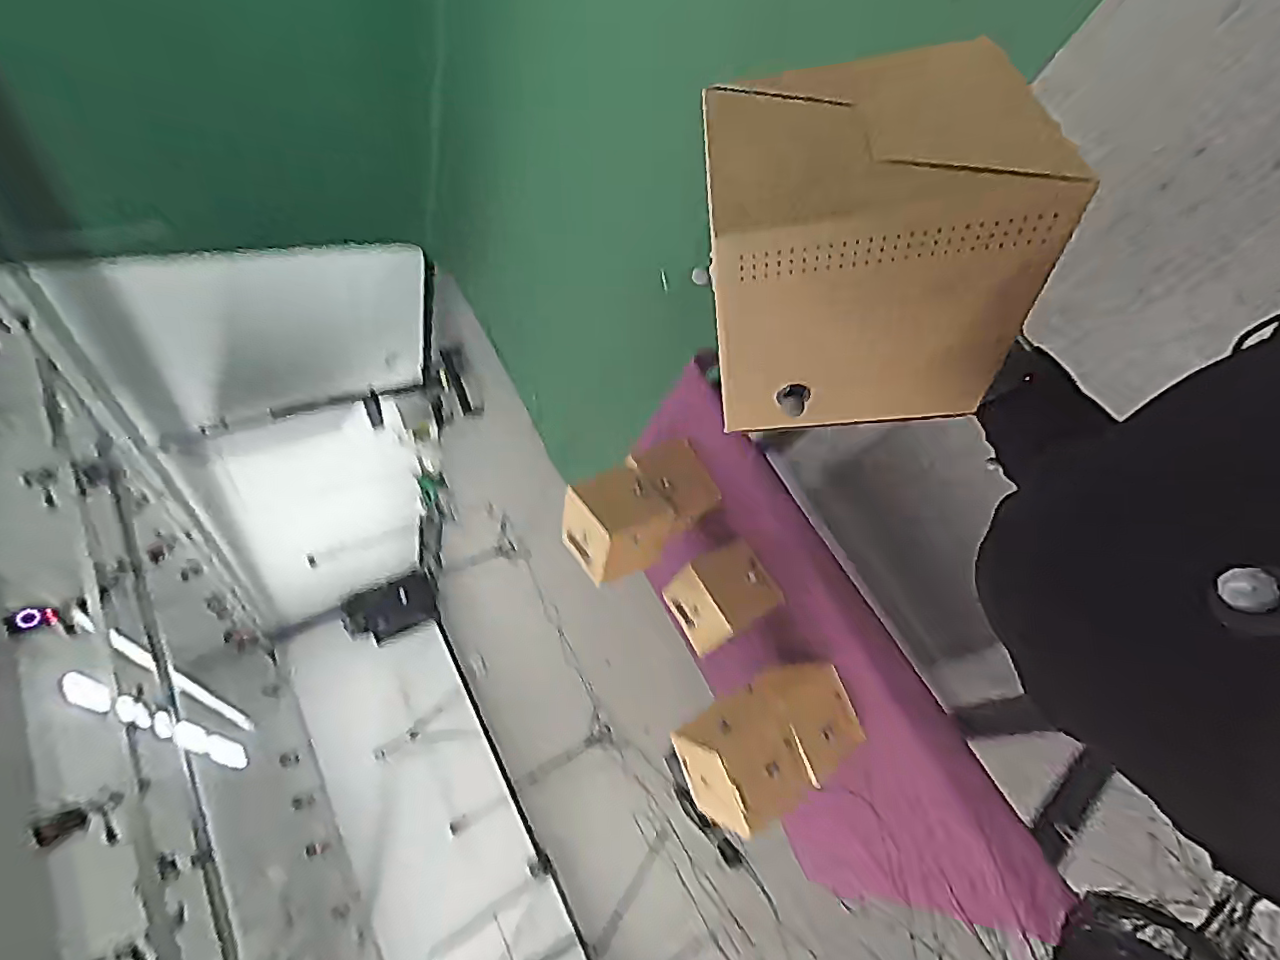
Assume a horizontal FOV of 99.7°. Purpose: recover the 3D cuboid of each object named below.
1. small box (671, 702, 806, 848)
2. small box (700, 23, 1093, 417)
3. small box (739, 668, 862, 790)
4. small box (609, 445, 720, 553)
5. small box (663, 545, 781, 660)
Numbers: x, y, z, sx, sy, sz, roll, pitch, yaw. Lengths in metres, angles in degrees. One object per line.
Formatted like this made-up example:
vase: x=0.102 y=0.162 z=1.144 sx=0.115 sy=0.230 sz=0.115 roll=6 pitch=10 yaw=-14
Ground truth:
small box: x=0.196 y=0.556 z=1.051 sx=0.179 sy=0.176 sz=0.168 roll=-20 pitch=90 yaw=58
small box: x=0.133 y=-0.162 z=0.358 sx=0.176 sy=0.179 sz=0.168 roll=72 pitch=-164 yaw=-58
small box: x=0.332 y=0.508 z=1.130 sx=0.179 sy=0.176 sz=0.168 roll=-34 pitch=79 yaw=58
small box: x=0.058 y=0.042 z=1.282 sx=0.179 sy=0.176 sz=0.168 roll=59 pitch=147 yaw=15
small box: x=0.184 y=0.275 z=1.220 sx=0.168 sy=0.176 sz=0.179 roll=56 pitch=145 yaw=20
